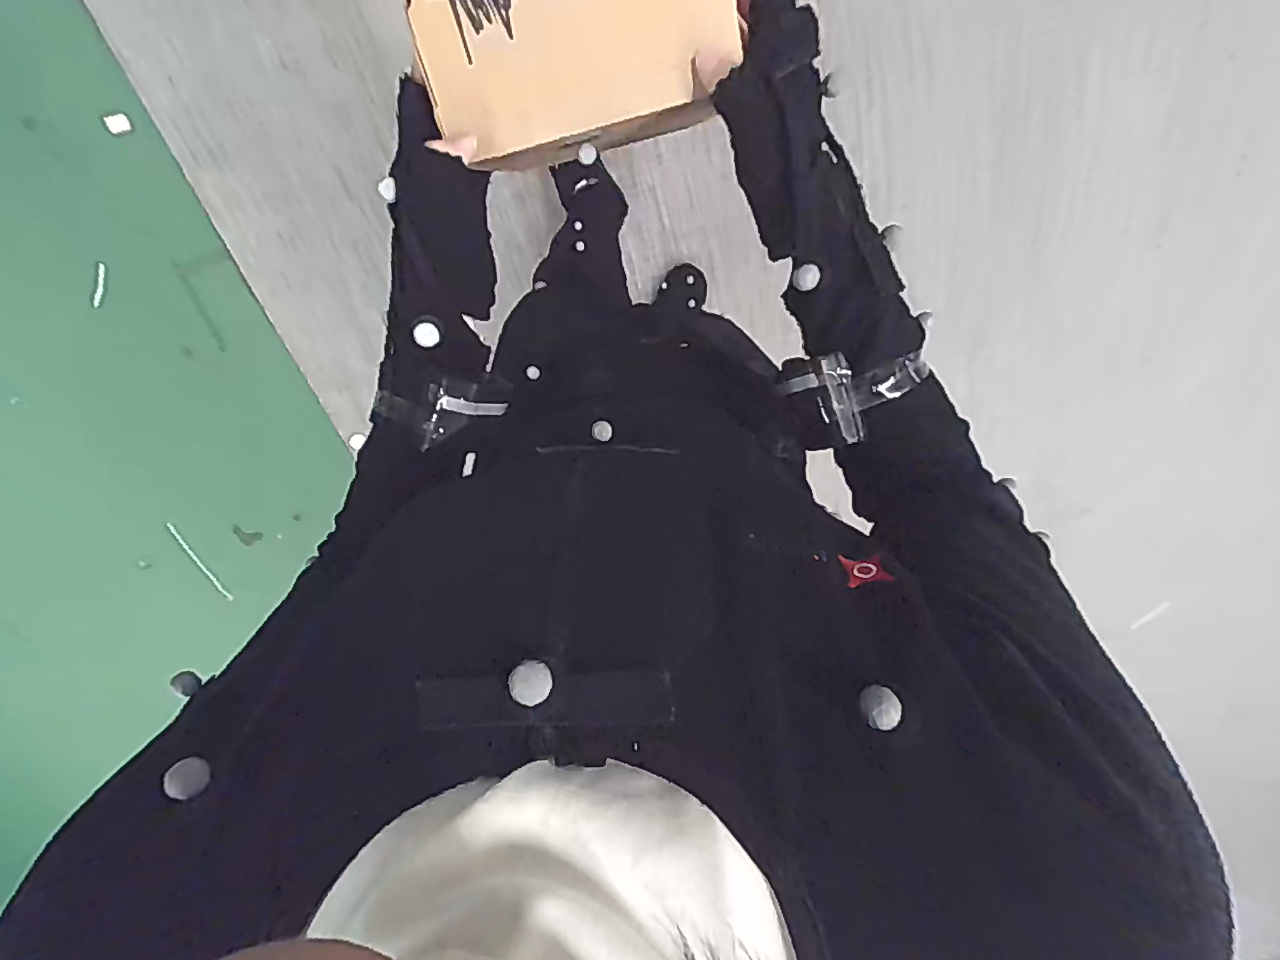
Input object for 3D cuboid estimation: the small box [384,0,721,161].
[{"bbox_3d":[-0.049,-0.313,0.342,0.179,0.176,0.168,-9,118,9],"label":"small box"}]
